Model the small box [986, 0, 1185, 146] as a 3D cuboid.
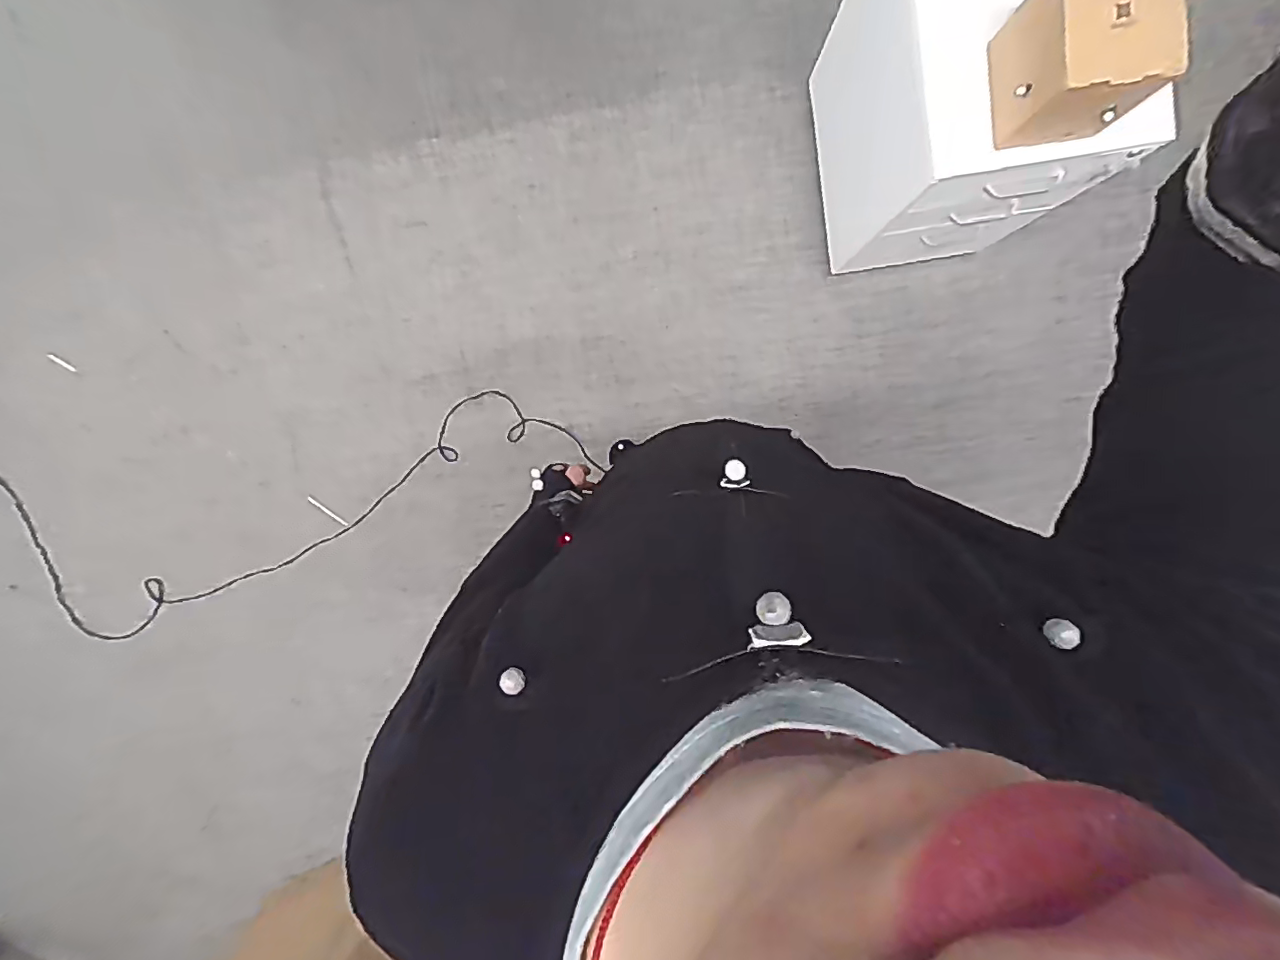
[{"bbox_3d":[0.660,-0.636,0.820,0.168,0.176,0.179,-7,93,0],"label":"small box"}]
